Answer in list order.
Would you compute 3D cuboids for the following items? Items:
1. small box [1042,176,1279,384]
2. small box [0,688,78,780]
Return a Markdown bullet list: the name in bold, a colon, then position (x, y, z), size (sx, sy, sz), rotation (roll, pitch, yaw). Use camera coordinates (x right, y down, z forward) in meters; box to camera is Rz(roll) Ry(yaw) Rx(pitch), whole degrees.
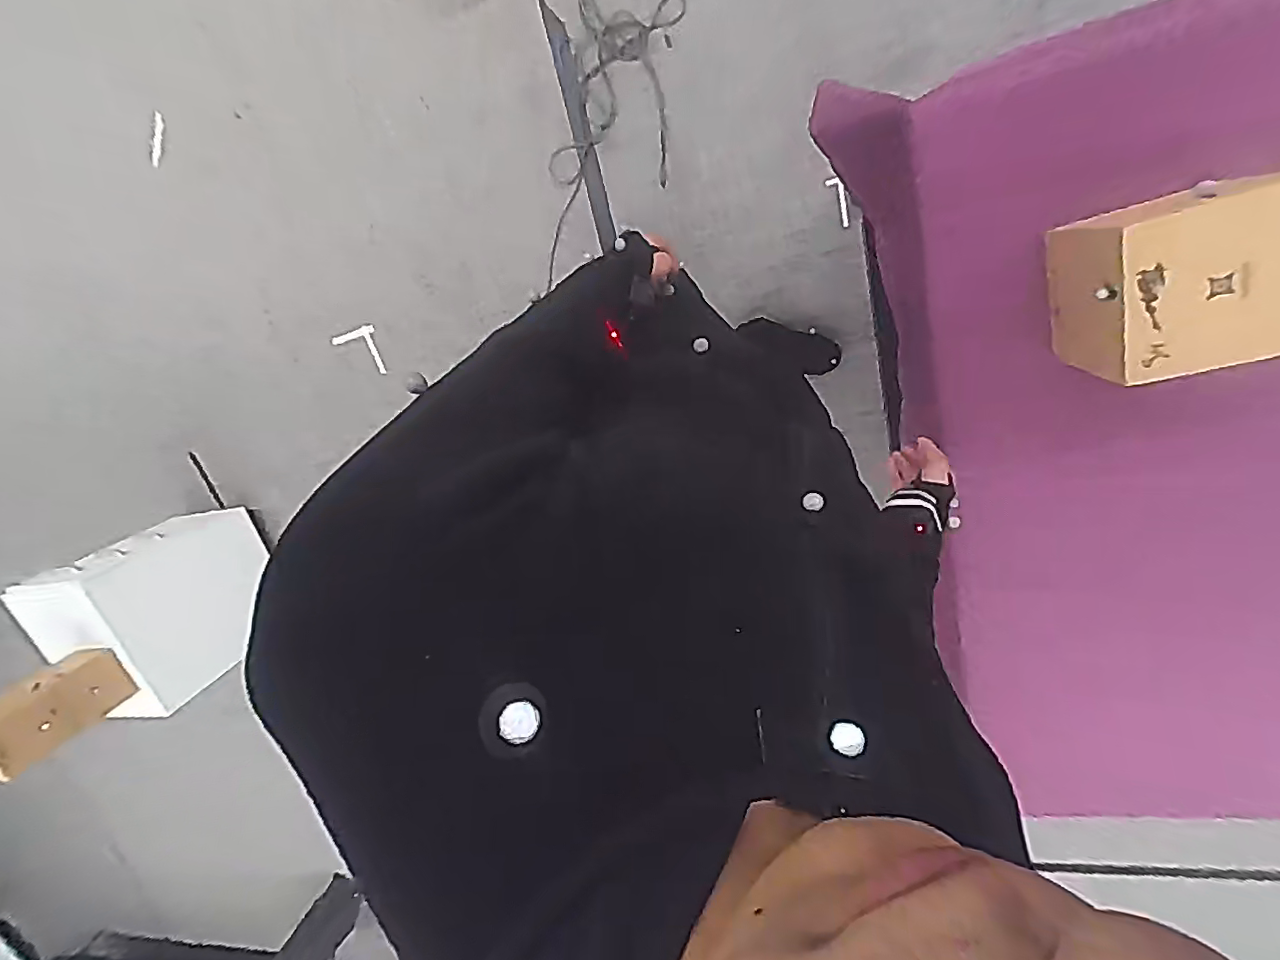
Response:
- **small box**: position (0.588, -0.223, 0.600), size (0.179, 0.176, 0.168), rotation (-12, 109, 17)
- **small box**: position (-1.767, 0.708, 1.523), size (0.179, 0.176, 0.168), rotation (-6, 112, 16)
